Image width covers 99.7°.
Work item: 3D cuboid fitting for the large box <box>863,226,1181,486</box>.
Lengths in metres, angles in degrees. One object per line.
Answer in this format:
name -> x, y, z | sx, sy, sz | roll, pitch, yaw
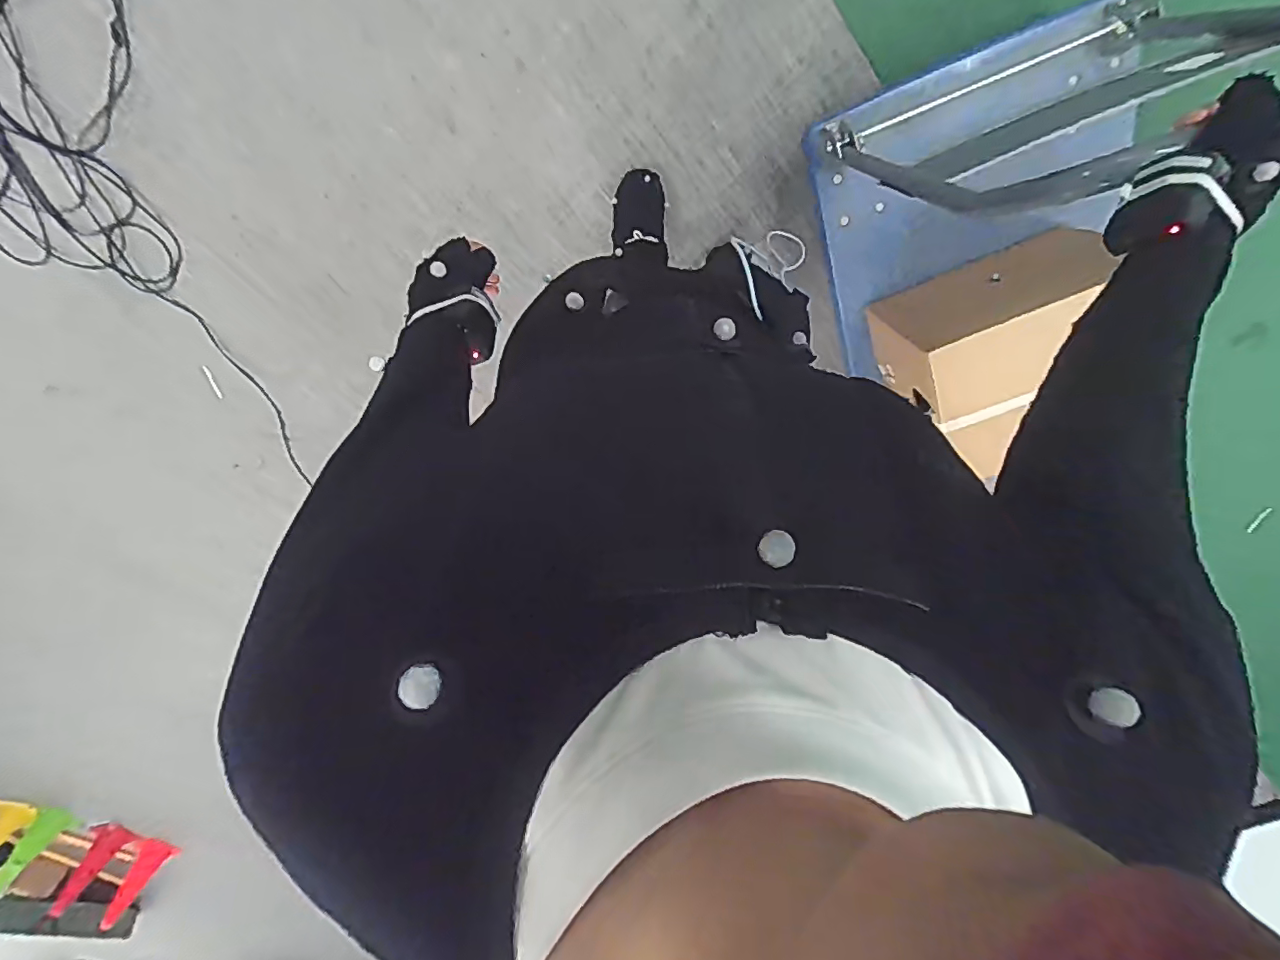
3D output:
large box -> 0.730, -0.254, 1.086 | 0.408, 0.320, 0.320 | -22, 120, 13
